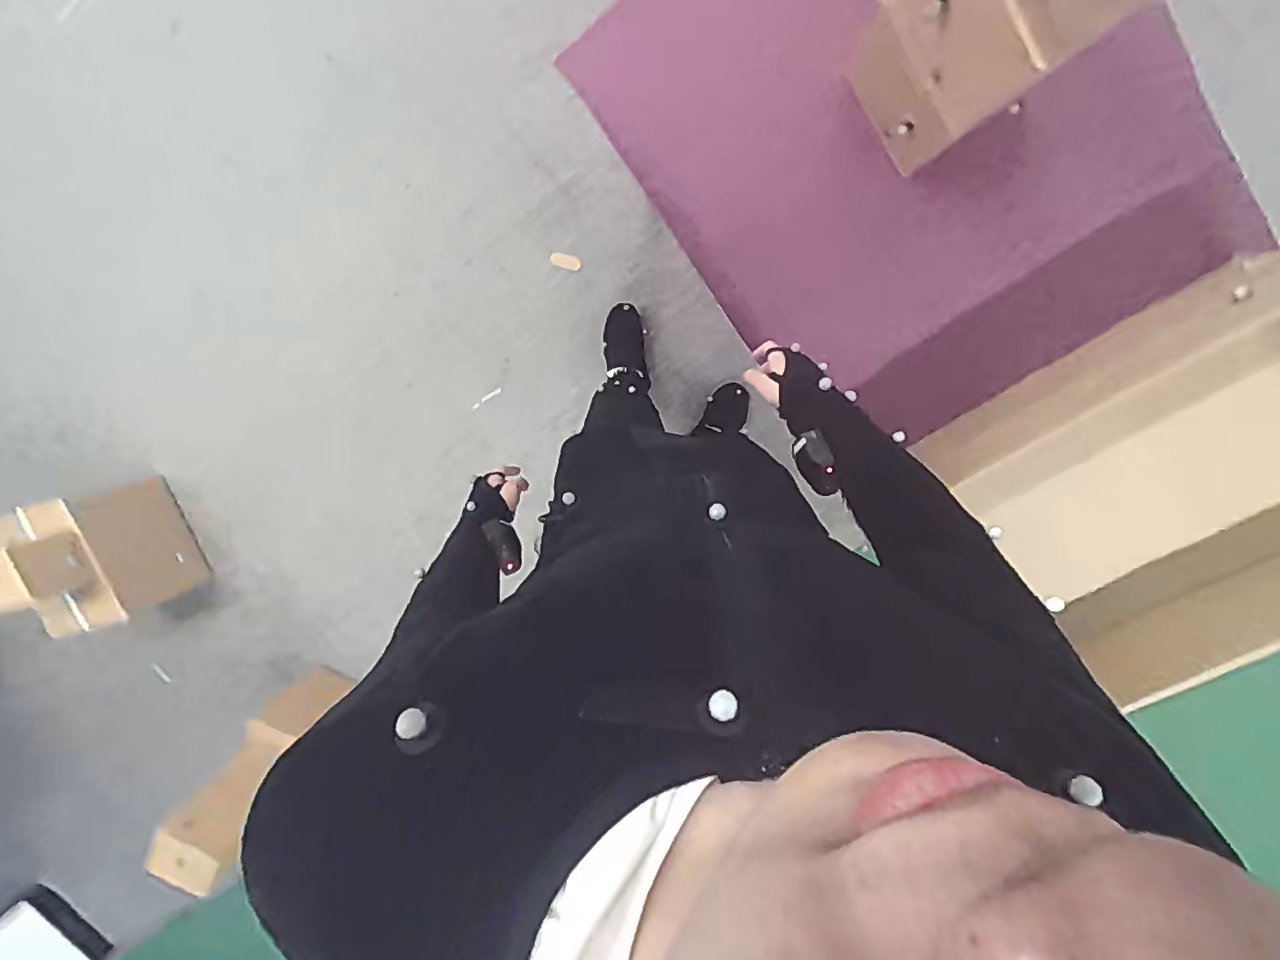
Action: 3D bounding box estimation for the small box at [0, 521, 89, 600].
[{"bbox_3d":[-1.738,0.228,1.524,0.179,0.176,0.168,-12,103,8],"label":"small box"}]

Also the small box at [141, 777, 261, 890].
[{"bbox_3d":[-1.203,0.963,1.490,0.179,0.176,0.168,28,107,-2],"label":"small box"}]

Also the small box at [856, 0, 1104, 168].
[{"bbox_3d":[0.379,-0.512,0.640,0.179,0.176,0.168,-32,100,14],"label":"small box"}]

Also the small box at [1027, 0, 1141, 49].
[{"bbox_3d":[0.344,-0.425,0.328,0.179,0.176,0.168,-33,100,14],"label":"small box"}]

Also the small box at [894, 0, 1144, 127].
[{"bbox_3d":[0.357,-0.467,0.486,0.179,0.176,0.168,-33,100,13],"label":"small box"}]
